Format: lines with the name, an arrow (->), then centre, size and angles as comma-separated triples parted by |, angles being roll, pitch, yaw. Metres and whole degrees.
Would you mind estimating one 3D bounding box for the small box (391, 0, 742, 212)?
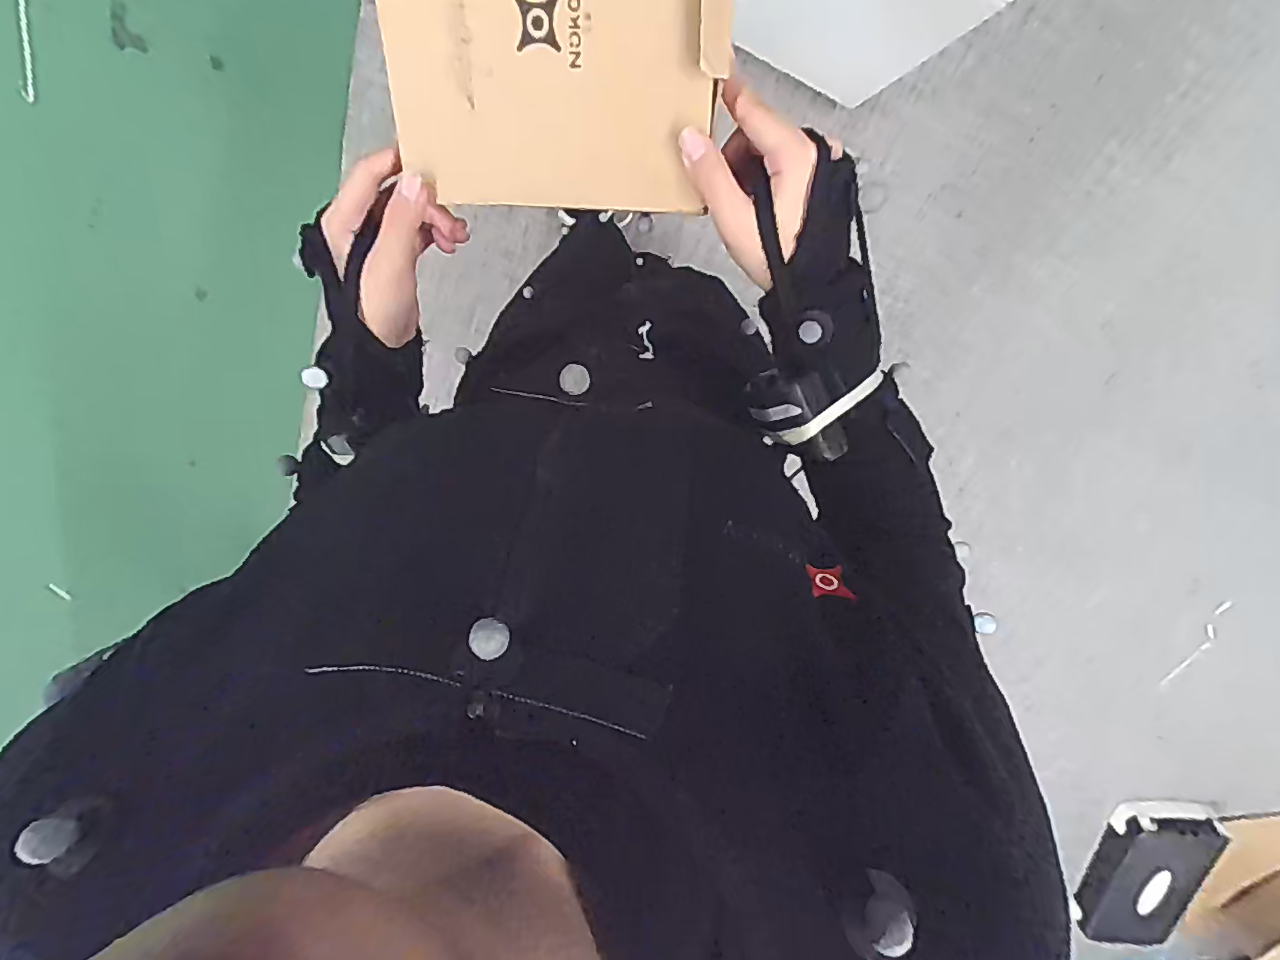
small box -> -0.029, -0.262, 0.337 | 0.179, 0.176, 0.168 | 4, 116, 6
